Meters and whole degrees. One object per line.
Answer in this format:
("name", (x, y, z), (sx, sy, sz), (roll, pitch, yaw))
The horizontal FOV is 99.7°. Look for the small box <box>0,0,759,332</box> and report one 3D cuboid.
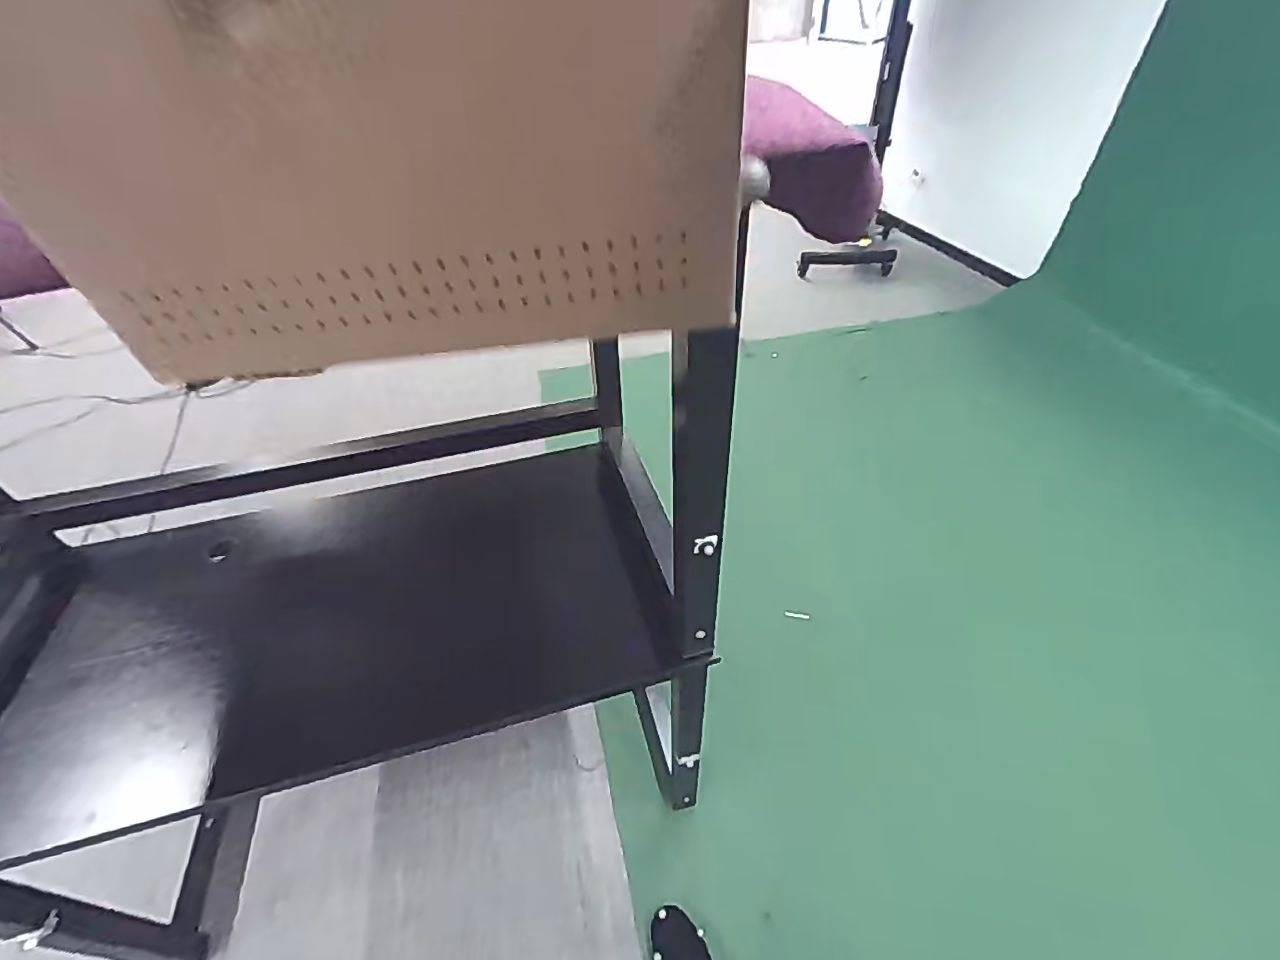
("small box", (-0.063, -0.161, 0.156), (0.179, 0.176, 0.168), (-6, 44, 1))
